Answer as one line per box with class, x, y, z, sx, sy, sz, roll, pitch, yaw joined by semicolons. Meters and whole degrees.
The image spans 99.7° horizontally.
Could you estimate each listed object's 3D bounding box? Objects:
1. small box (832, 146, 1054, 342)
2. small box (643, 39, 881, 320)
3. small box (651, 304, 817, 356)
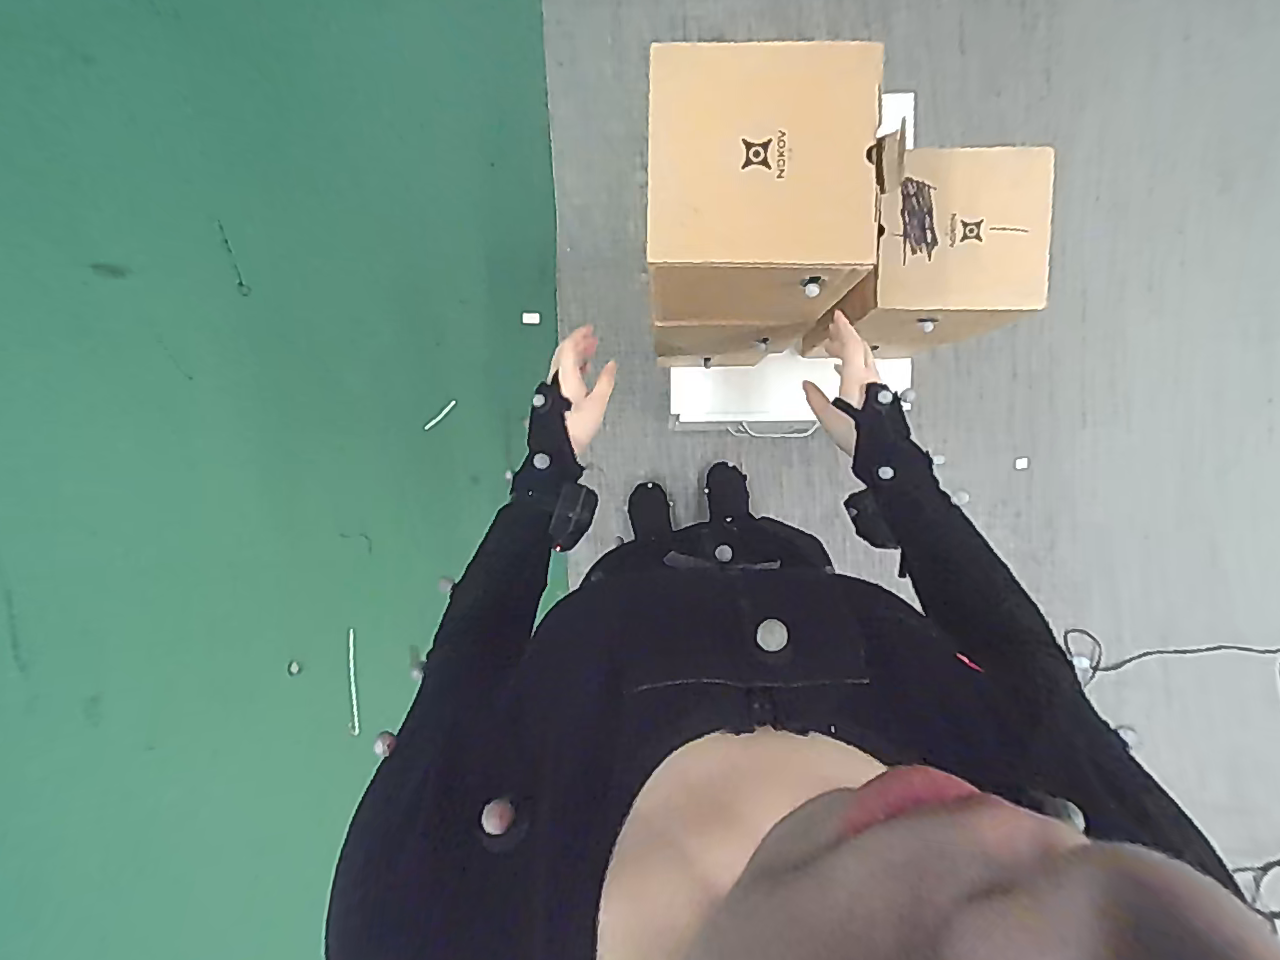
small box;0.336;-0.262;0.636;0.179;0.176;0.168;1;92;3
small box;0.094;-0.248;0.486;0.179;0.176;0.168;1;92;1
small box;0.101;-0.249;0.649;0.179;0.176;0.168;-1;91;2
